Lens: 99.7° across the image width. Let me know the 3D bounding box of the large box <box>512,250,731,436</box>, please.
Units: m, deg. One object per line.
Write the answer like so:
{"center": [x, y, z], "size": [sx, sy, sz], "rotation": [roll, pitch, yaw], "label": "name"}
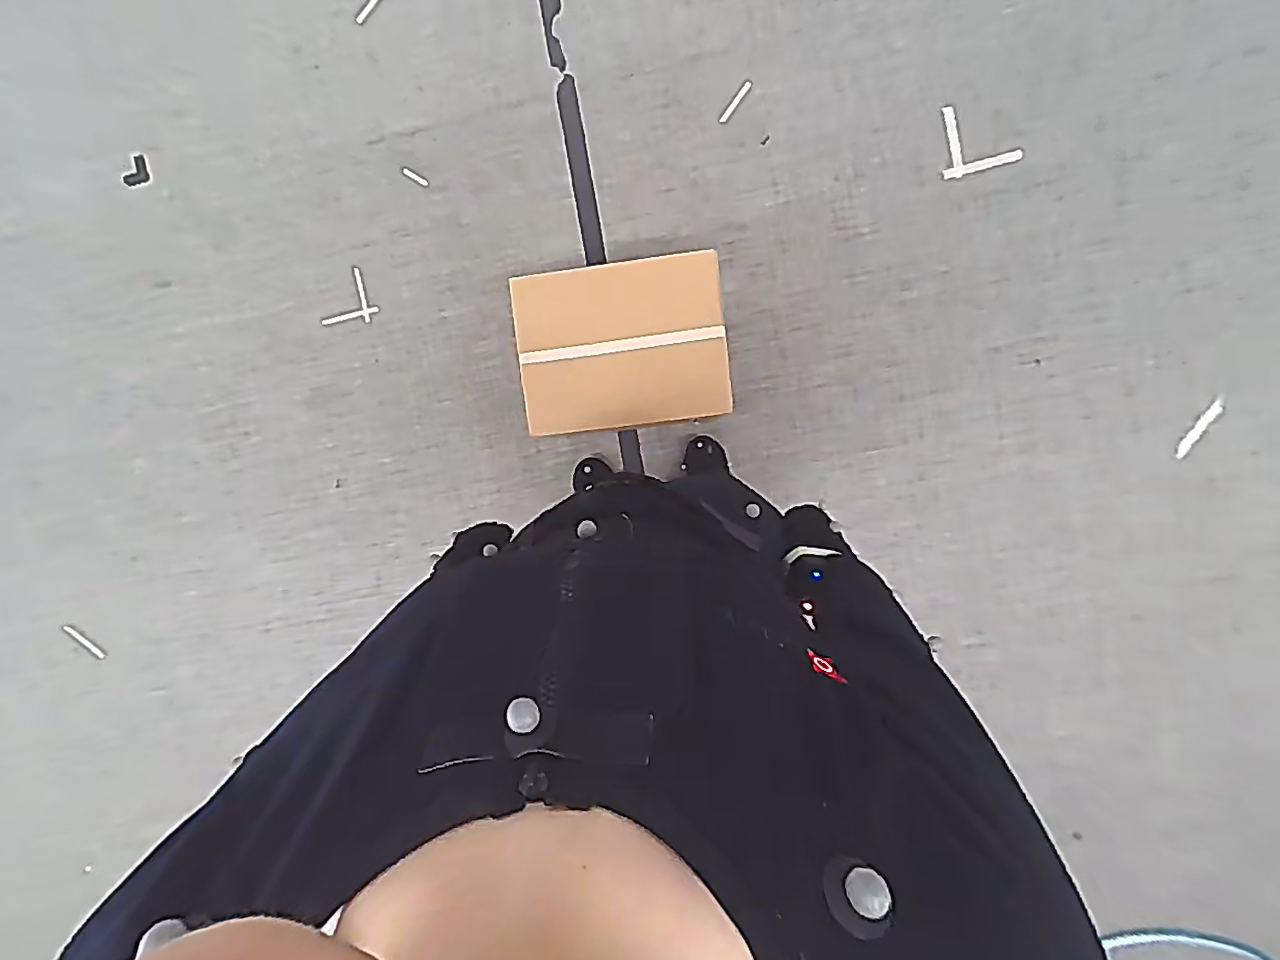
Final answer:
{"center": [-0.026, -0.278, 1.200], "size": [0.408, 0.320, 0.320], "rotation": [-6, 94, 5], "label": "large box"}
